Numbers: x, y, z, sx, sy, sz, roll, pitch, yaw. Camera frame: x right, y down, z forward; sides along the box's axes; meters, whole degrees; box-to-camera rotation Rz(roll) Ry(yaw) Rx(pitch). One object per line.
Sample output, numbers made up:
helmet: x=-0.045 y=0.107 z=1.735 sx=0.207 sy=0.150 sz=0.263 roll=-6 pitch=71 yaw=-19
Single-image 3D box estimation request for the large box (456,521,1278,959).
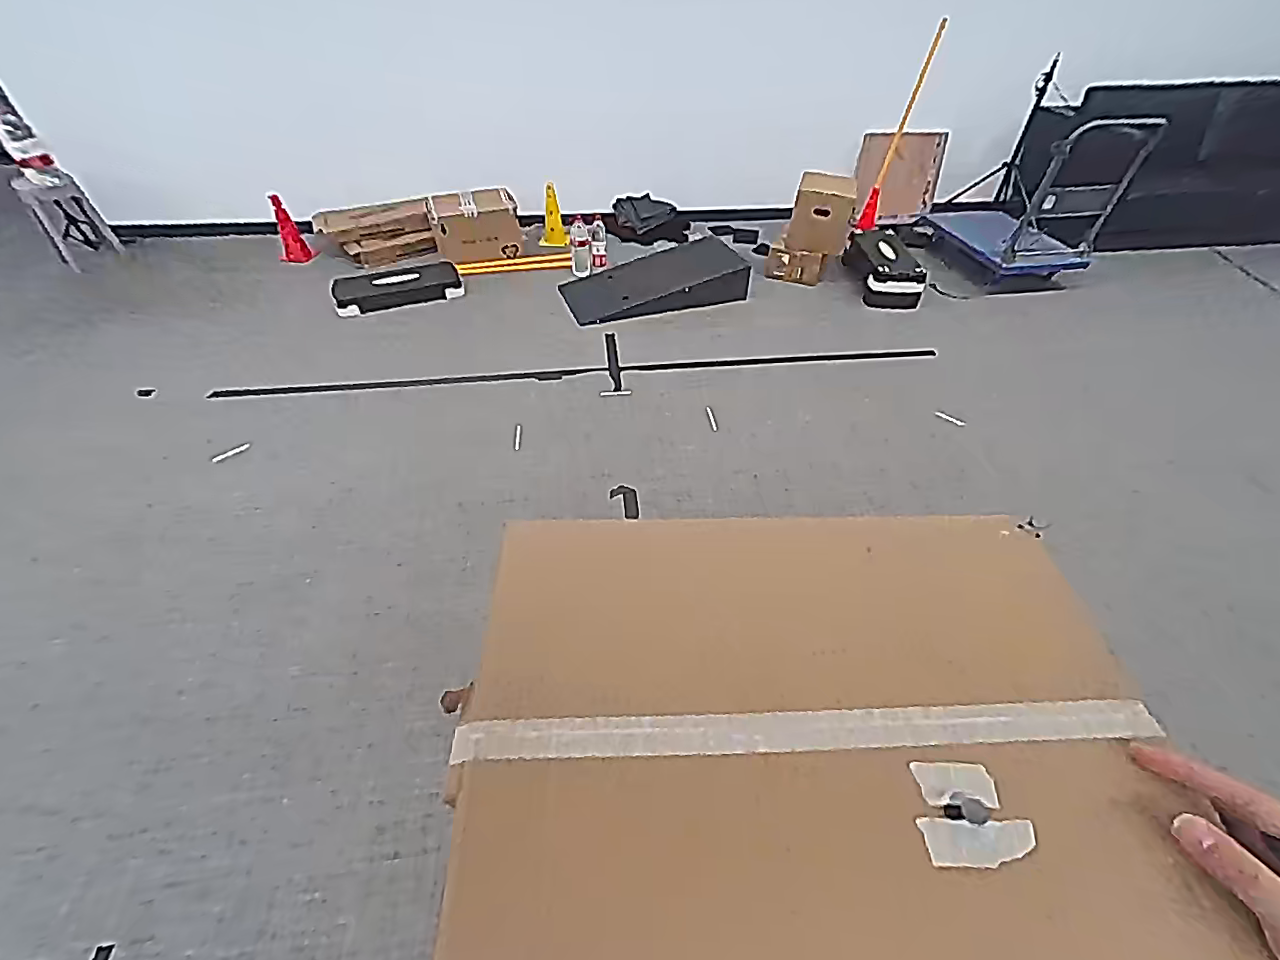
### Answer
large box: x=0.099 y=0.248 z=0.437 sx=0.408 sy=0.320 sz=0.320 roll=0 pitch=49 yaw=-3
